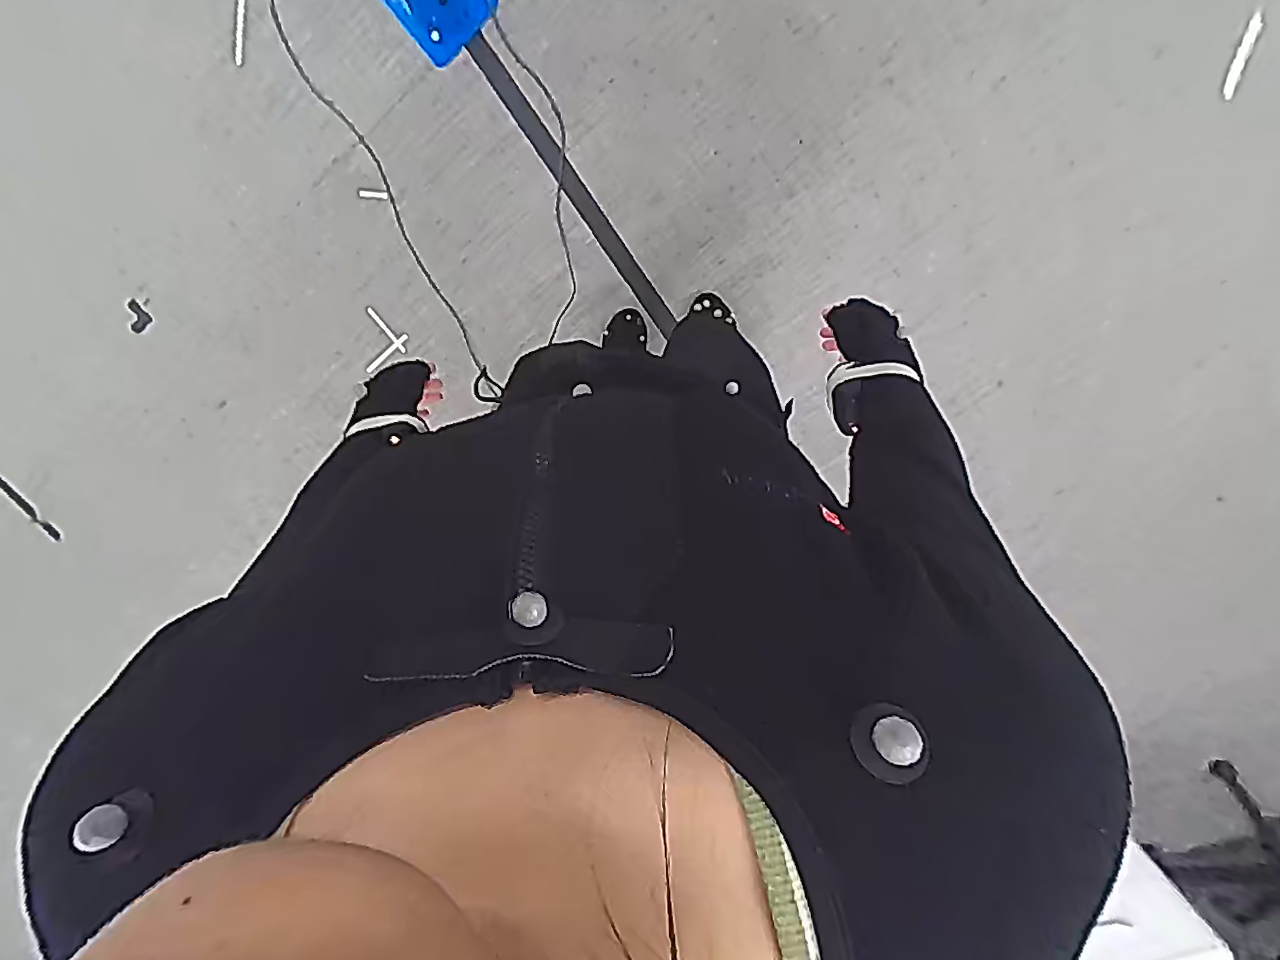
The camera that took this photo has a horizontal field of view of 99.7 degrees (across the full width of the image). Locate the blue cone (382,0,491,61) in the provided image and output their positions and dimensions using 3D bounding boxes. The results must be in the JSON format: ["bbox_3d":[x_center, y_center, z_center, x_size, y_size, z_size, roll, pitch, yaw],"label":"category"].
[{"bbox_3d":[-0.440,-0.993,1.009,0.192,0.380,0.193,-40,103,13],"label":"blue cone"}]
